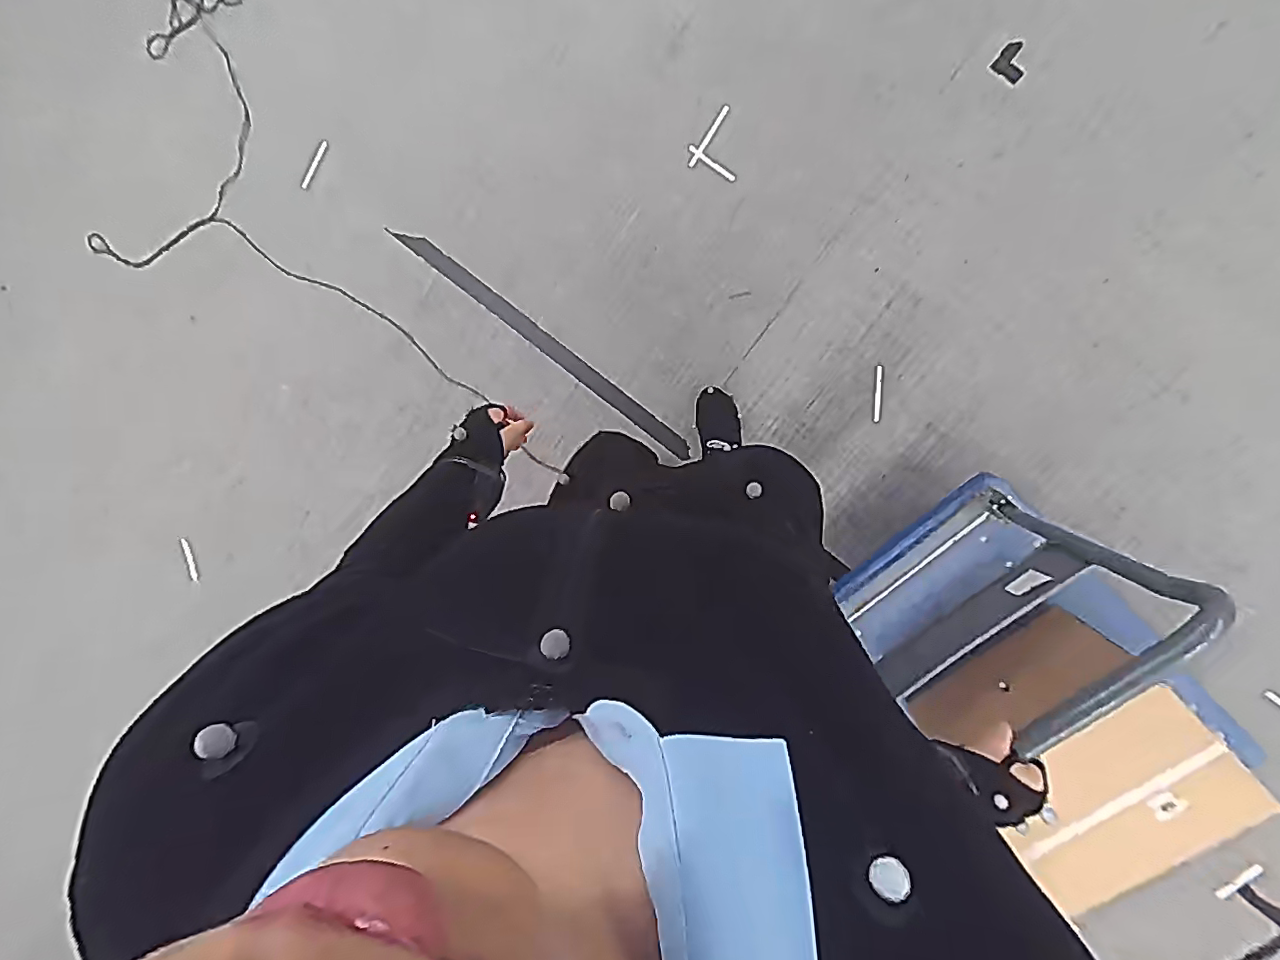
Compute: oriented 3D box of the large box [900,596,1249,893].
[{"bbox_3d":[0.846,0.523,1.129,0.408,0.320,0.320,-43,91,13],"label":"large box"}]
